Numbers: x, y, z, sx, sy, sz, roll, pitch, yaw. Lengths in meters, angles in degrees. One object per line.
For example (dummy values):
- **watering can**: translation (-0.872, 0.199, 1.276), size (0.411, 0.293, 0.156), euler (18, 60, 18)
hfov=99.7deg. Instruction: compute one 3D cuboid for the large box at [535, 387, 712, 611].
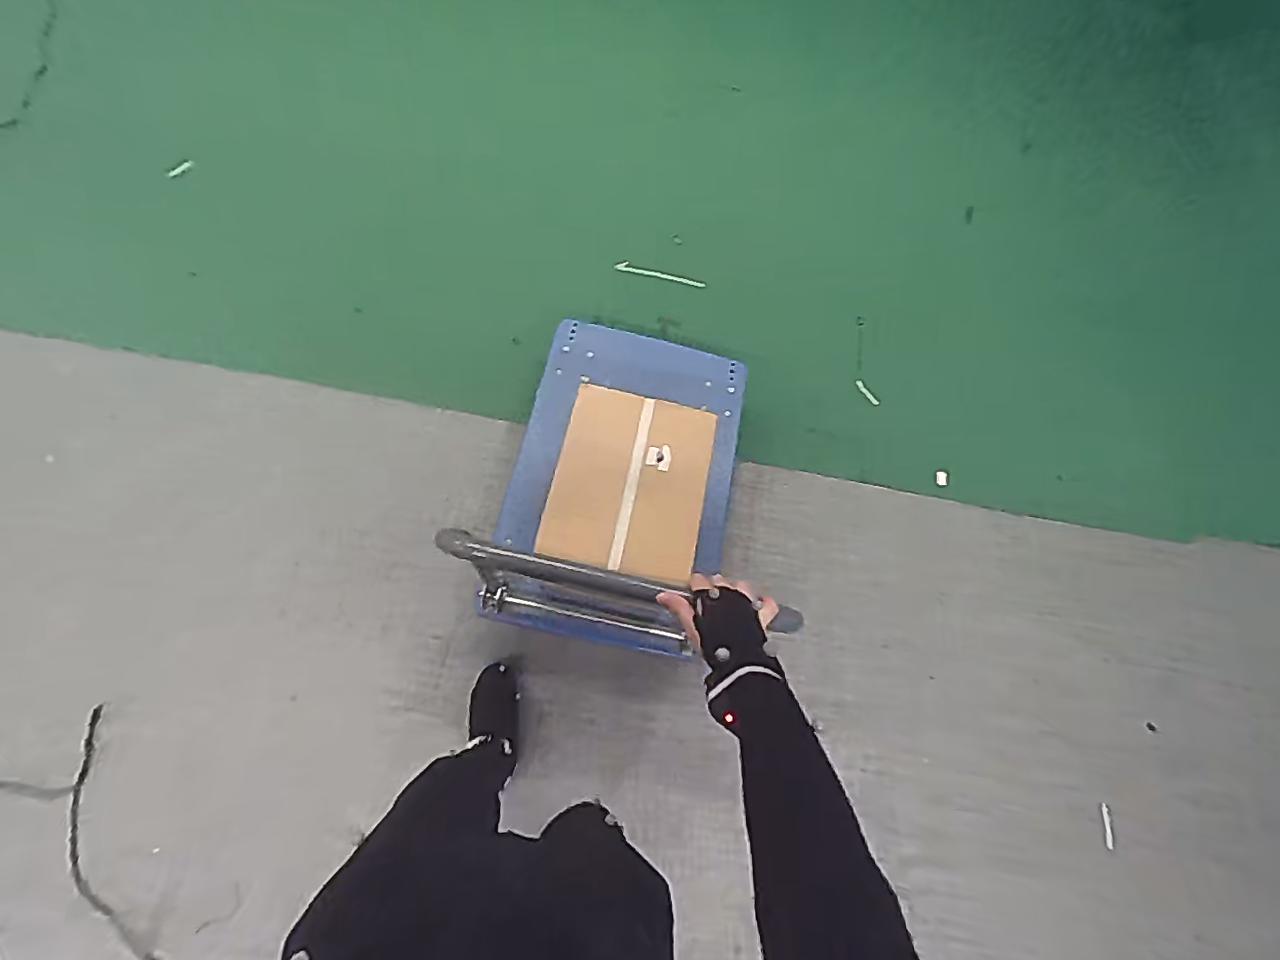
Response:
- **large box**: translation (-0.040, 0.060, 1.255), size (0.320, 0.320, 0.408), euler (13, 68, -3)
